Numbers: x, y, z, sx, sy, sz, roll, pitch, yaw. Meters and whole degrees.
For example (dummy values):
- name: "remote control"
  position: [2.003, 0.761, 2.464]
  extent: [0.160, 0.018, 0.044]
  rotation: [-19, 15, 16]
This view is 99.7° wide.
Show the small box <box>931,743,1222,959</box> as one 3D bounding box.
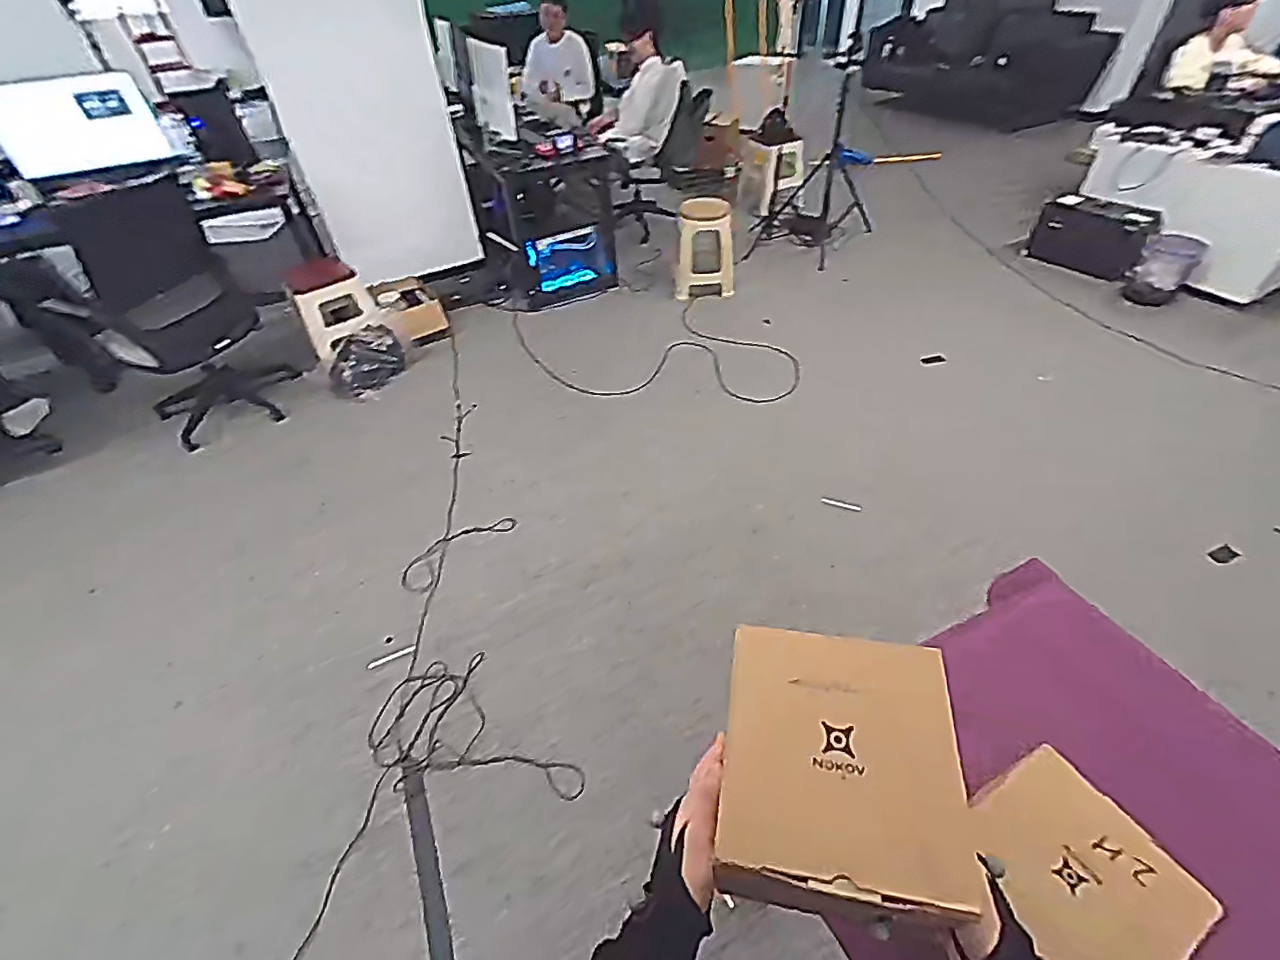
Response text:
- name: "small box"
  position: [0.407, 0.417, 0.557]
  extent: [0.179, 0.176, 0.168]
  rotation: [-23, 49, -20]

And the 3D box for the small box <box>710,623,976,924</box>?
- name: "small box"
  position: [0.150, 0.247, 0.456]
  extent: [0.168, 0.176, 0.179]
  rotation: [4, 48, 11]
